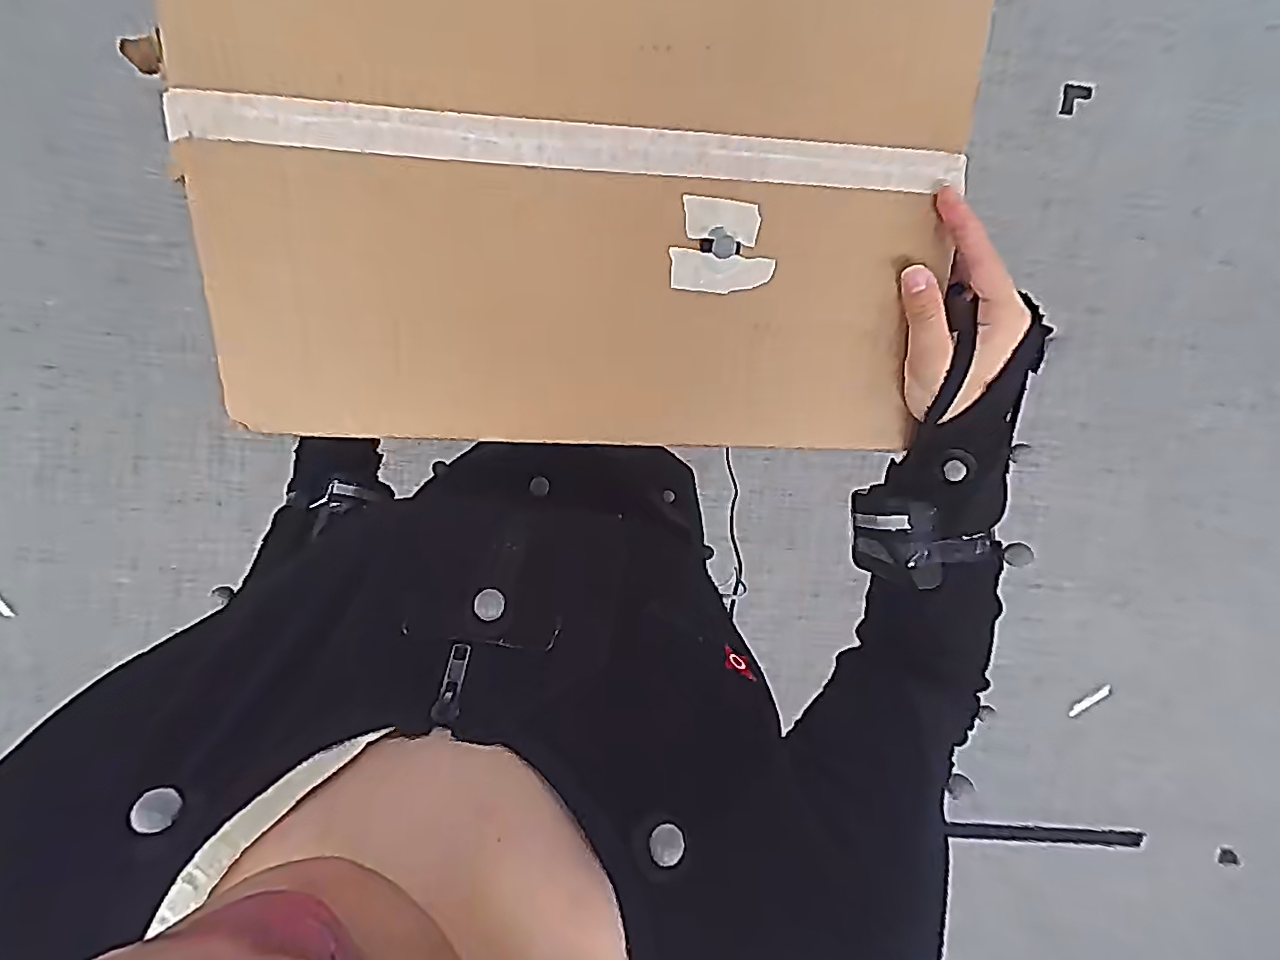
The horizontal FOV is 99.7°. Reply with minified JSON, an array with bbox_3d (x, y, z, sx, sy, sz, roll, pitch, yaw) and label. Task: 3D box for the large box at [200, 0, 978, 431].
[{"bbox_3d":[-0.035,-0.219,0.436,0.408,0.320,0.320,1,106,-7],"label":"large box"}]
